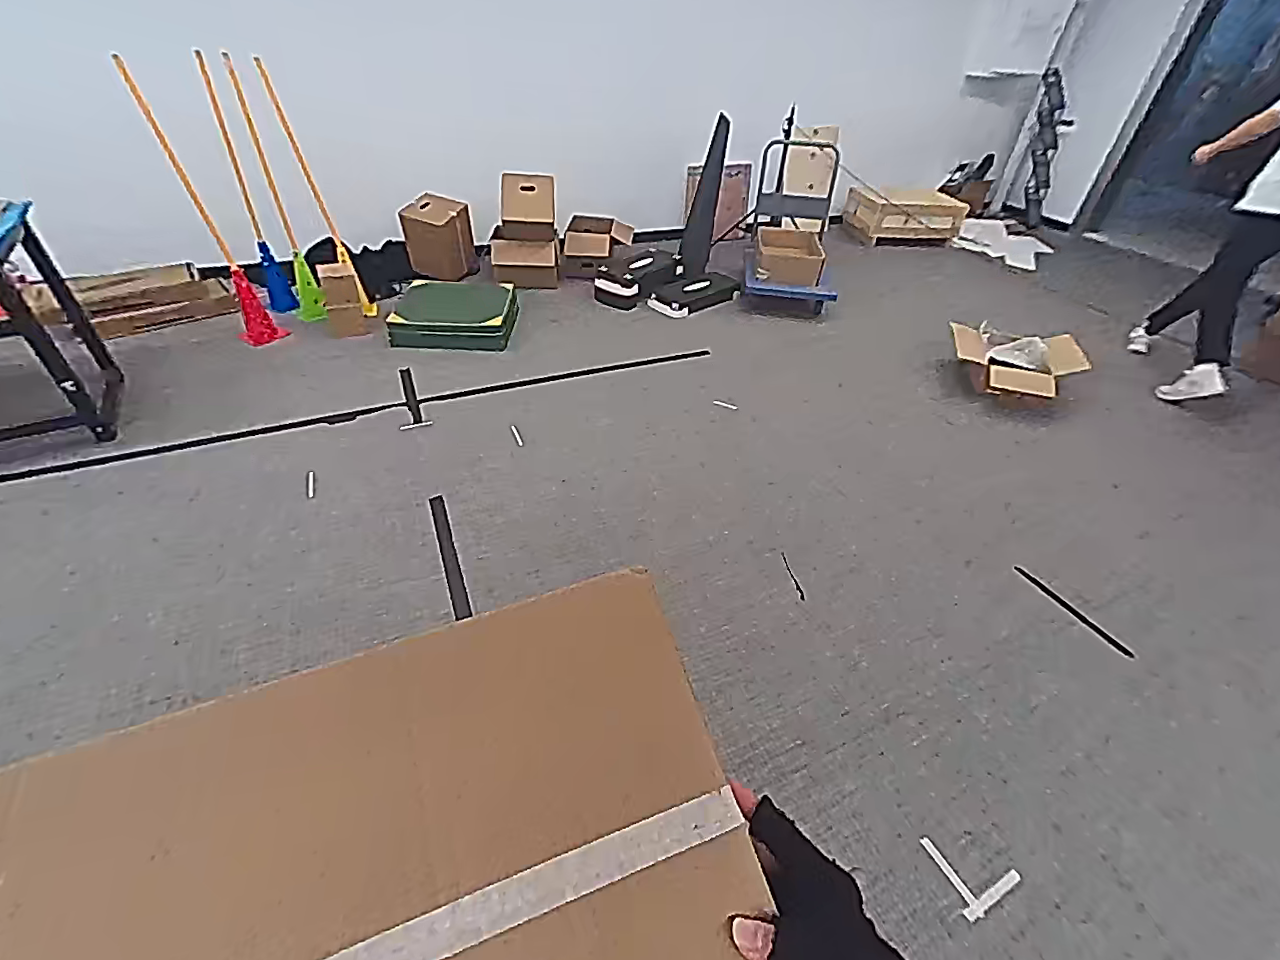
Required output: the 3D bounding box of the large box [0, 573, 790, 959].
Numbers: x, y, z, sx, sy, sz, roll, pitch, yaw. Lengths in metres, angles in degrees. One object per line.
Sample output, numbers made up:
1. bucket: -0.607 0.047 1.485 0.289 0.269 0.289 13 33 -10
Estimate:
1. large box: -0.141 0.320 0.413 0.408 0.320 0.320 -16 64 -12
